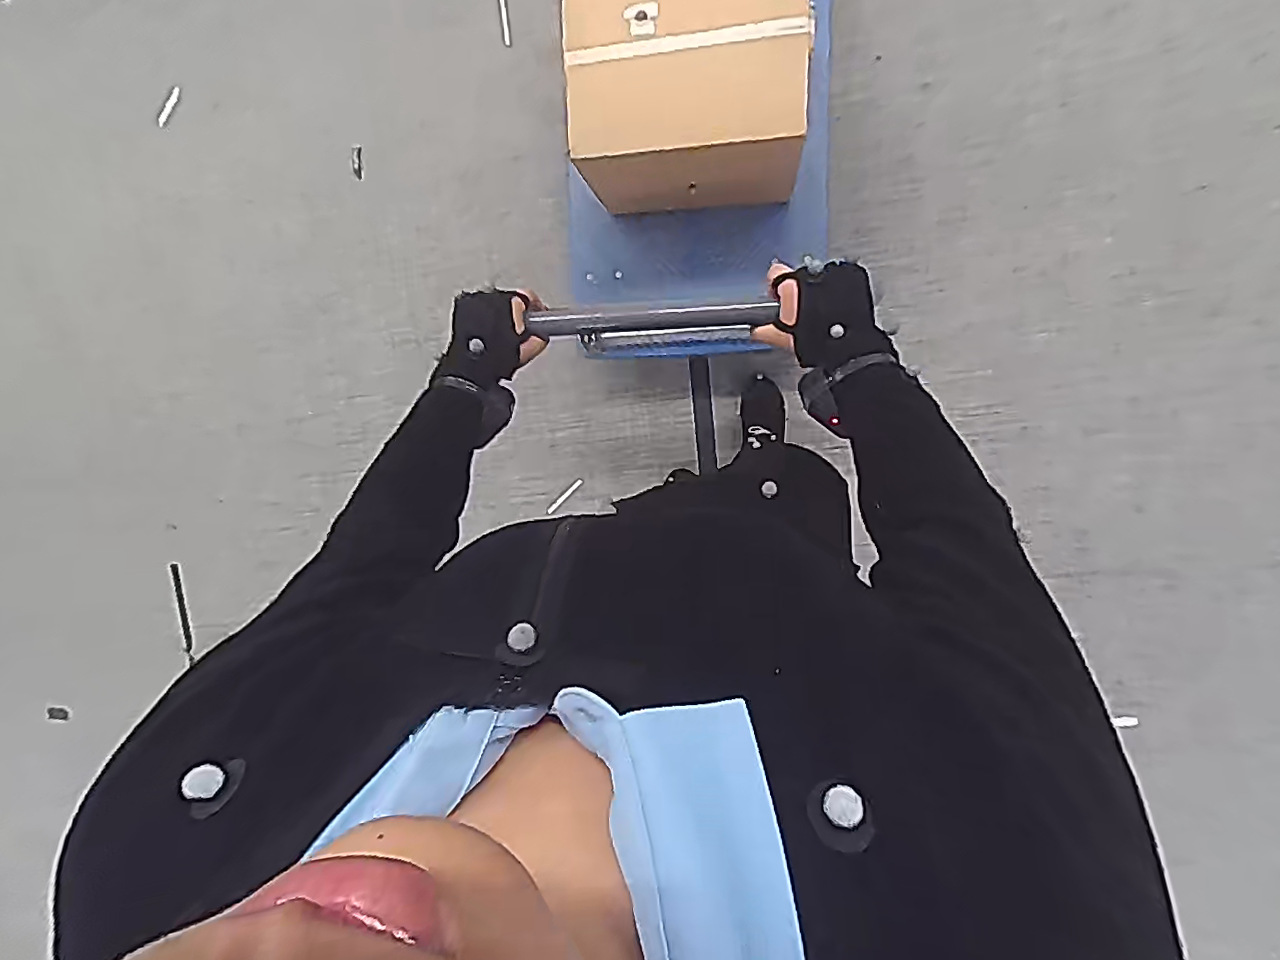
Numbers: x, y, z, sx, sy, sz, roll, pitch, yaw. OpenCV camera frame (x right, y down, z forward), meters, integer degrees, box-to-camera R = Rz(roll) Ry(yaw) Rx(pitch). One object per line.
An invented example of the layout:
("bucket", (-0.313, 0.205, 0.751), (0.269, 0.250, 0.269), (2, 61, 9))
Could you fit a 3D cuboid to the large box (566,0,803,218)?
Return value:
("large box", (0.101, -0.737, 1.059), (0.408, 0.320, 0.320), (0, 98, 12))
